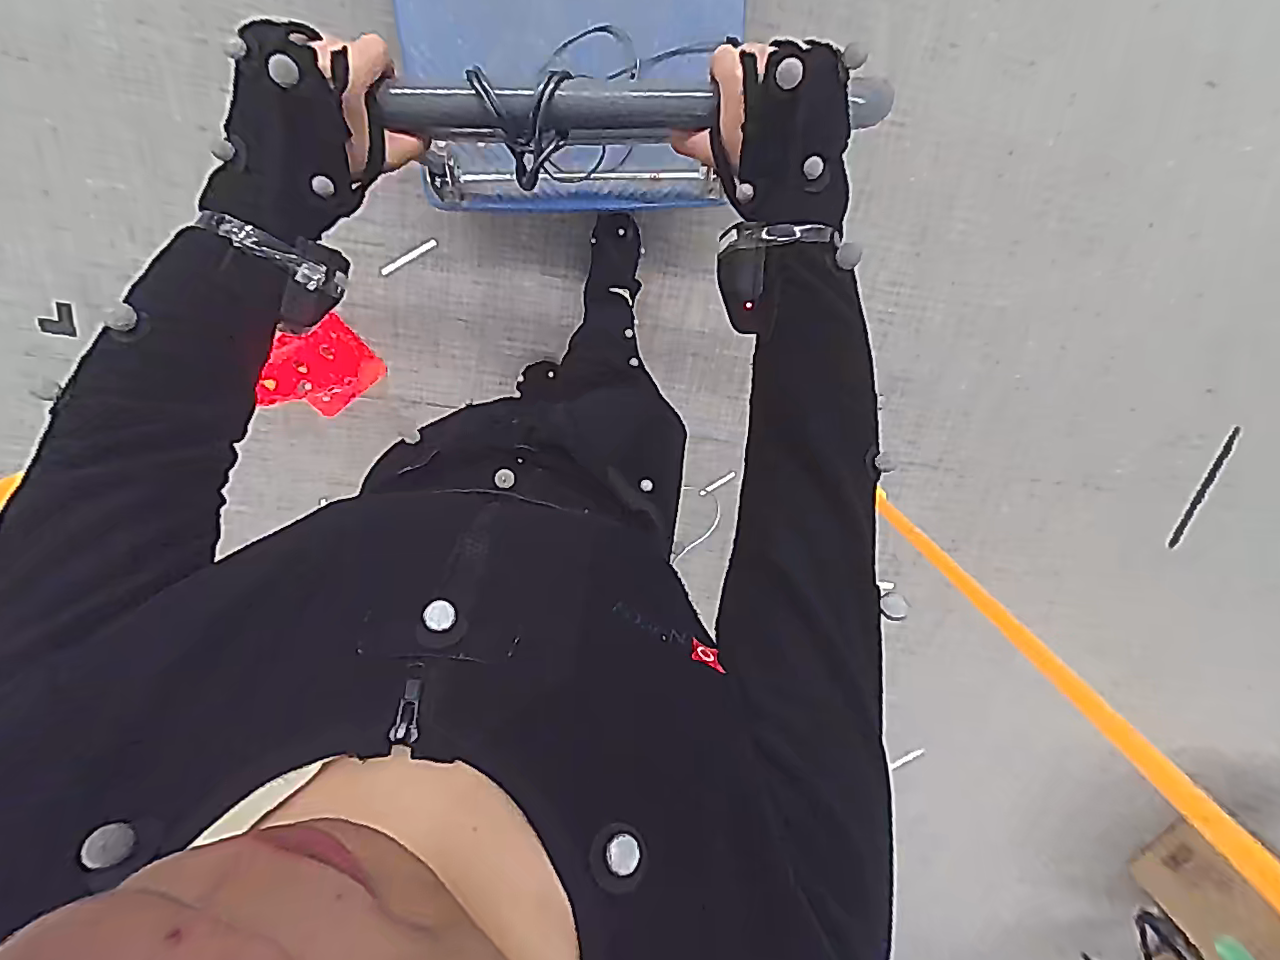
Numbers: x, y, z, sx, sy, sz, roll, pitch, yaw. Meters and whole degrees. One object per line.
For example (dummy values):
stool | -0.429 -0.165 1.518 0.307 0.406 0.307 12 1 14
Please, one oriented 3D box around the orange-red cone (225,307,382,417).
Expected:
orange-red cone | -0.693 -0.198 1.061 0.199 0.360 0.198 -35 112 7
